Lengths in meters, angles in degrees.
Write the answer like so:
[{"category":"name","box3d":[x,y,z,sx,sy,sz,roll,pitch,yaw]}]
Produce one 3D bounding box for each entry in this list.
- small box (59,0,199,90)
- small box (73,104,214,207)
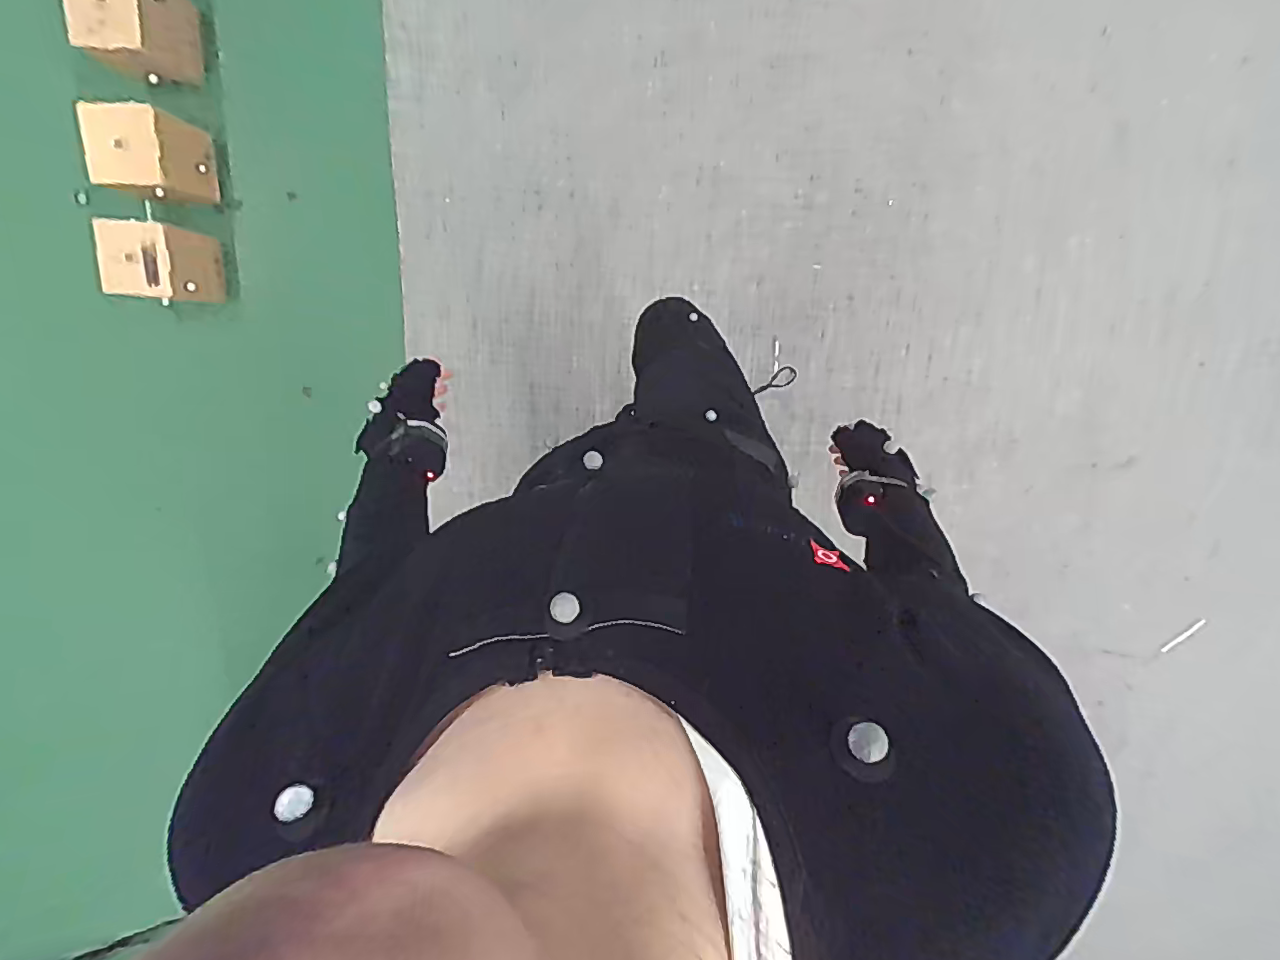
[{"category":"small box","box3d":[-1.157,-1.034,1.233,0.168,0.176,0.179,5,102,1]},{"category":"small box","box3d":[-1.175,-0.766,1.292,0.179,0.176,0.168,2,102,1]}]
